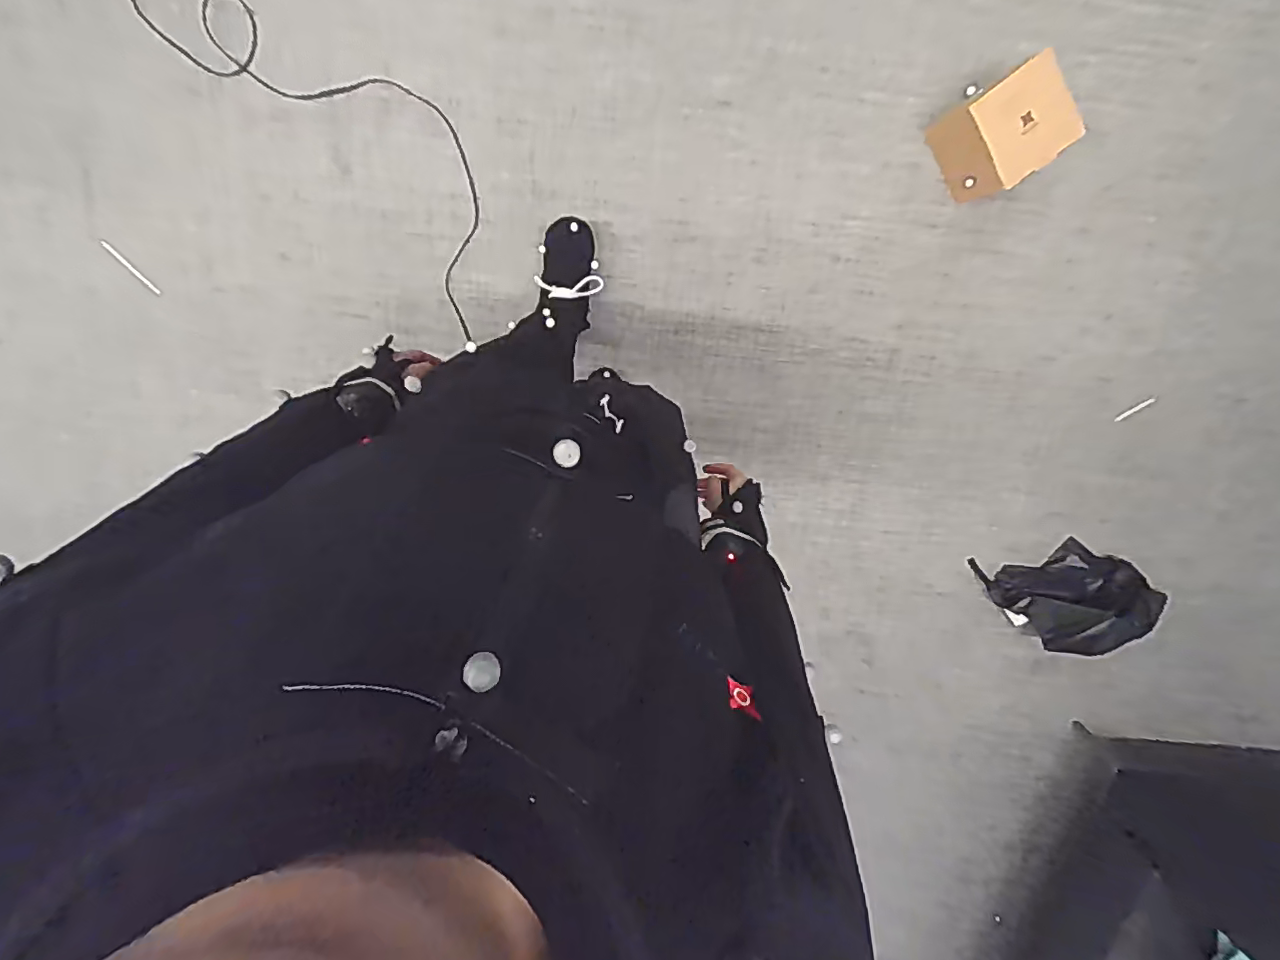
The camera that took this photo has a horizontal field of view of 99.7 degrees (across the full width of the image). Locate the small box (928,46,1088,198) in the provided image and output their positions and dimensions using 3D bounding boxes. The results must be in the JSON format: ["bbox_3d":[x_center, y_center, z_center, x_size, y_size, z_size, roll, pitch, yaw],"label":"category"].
[{"bbox_3d":[0.715,-0.686,1.067,0.168,0.176,0.179,-36,106,10],"label":"small box"}]
